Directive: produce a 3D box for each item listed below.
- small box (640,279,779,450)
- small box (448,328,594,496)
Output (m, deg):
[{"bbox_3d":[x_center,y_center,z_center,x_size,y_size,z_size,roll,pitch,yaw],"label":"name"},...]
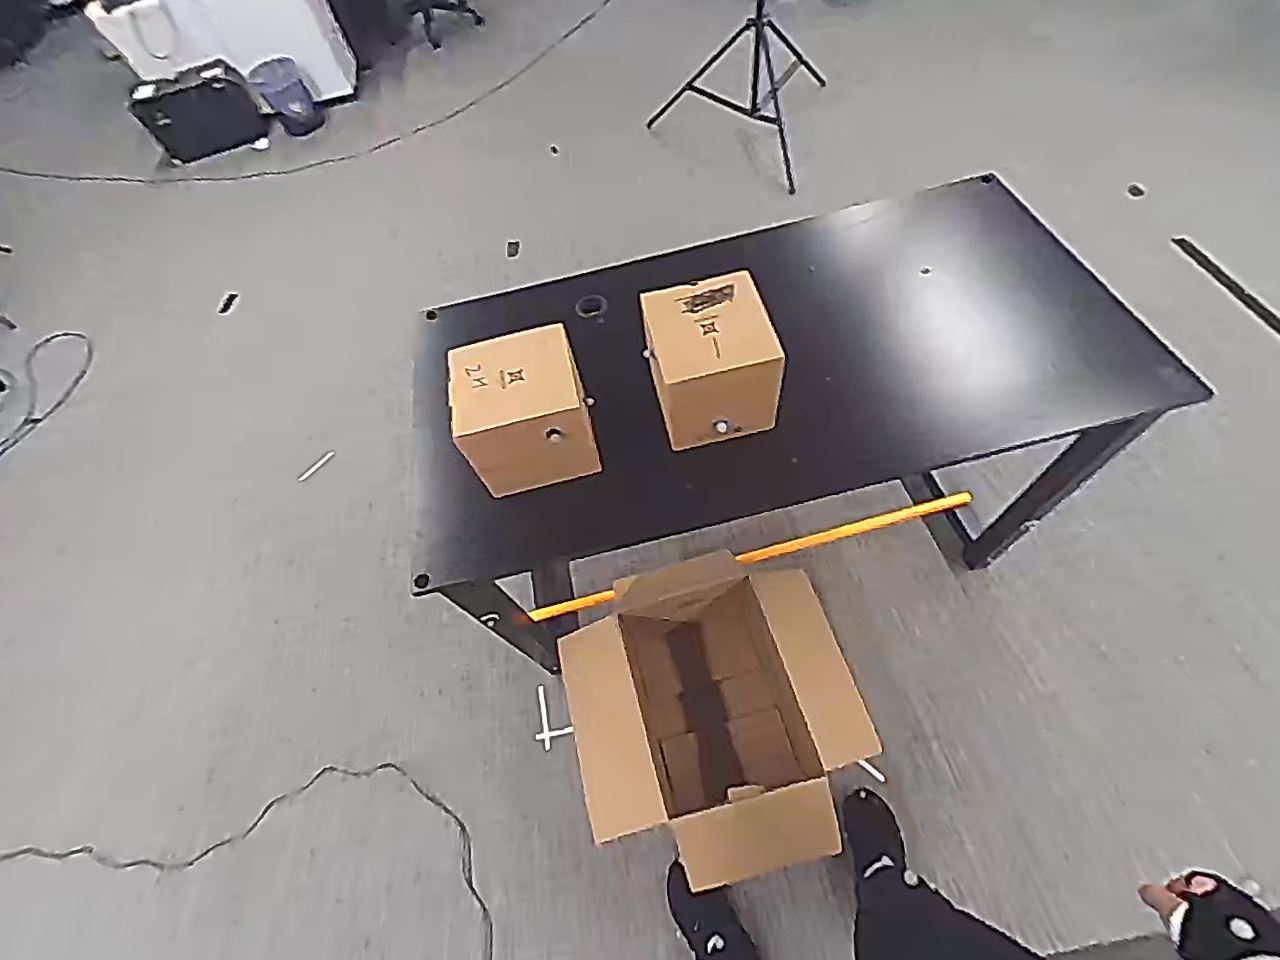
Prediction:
[{"bbox_3d":[0.102,-0.173,0.834,0.168,0.176,0.179,-13,60,0],"label":"small box"},{"bbox_3d":[-0.174,-0.099,0.827,0.179,0.176,0.168,-14,58,-1],"label":"small box"}]
